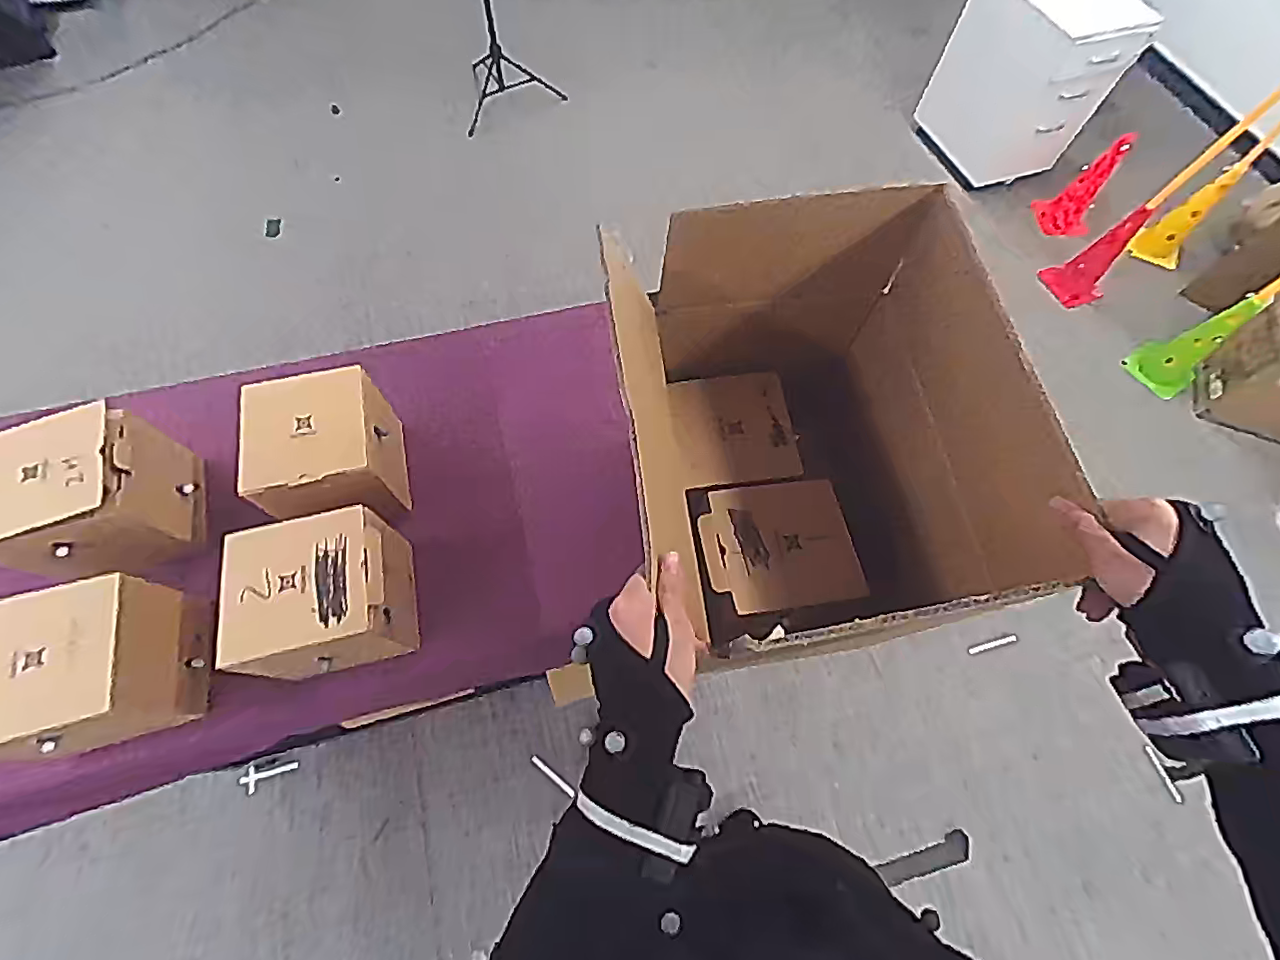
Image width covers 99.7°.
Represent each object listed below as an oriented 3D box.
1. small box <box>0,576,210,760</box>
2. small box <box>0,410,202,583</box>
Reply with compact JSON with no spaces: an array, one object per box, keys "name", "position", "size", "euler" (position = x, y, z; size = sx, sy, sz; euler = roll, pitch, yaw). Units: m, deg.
[{"name":"small box","position":[-0.689,0.239,0.673],"size":[0.179,0.176,0.168],"euler":[-14,67,-10]},{"name":"small box","position":[-0.771,0.031,0.764],"size":[0.179,0.176,0.168],"euler":[-16,68,-11]}]
